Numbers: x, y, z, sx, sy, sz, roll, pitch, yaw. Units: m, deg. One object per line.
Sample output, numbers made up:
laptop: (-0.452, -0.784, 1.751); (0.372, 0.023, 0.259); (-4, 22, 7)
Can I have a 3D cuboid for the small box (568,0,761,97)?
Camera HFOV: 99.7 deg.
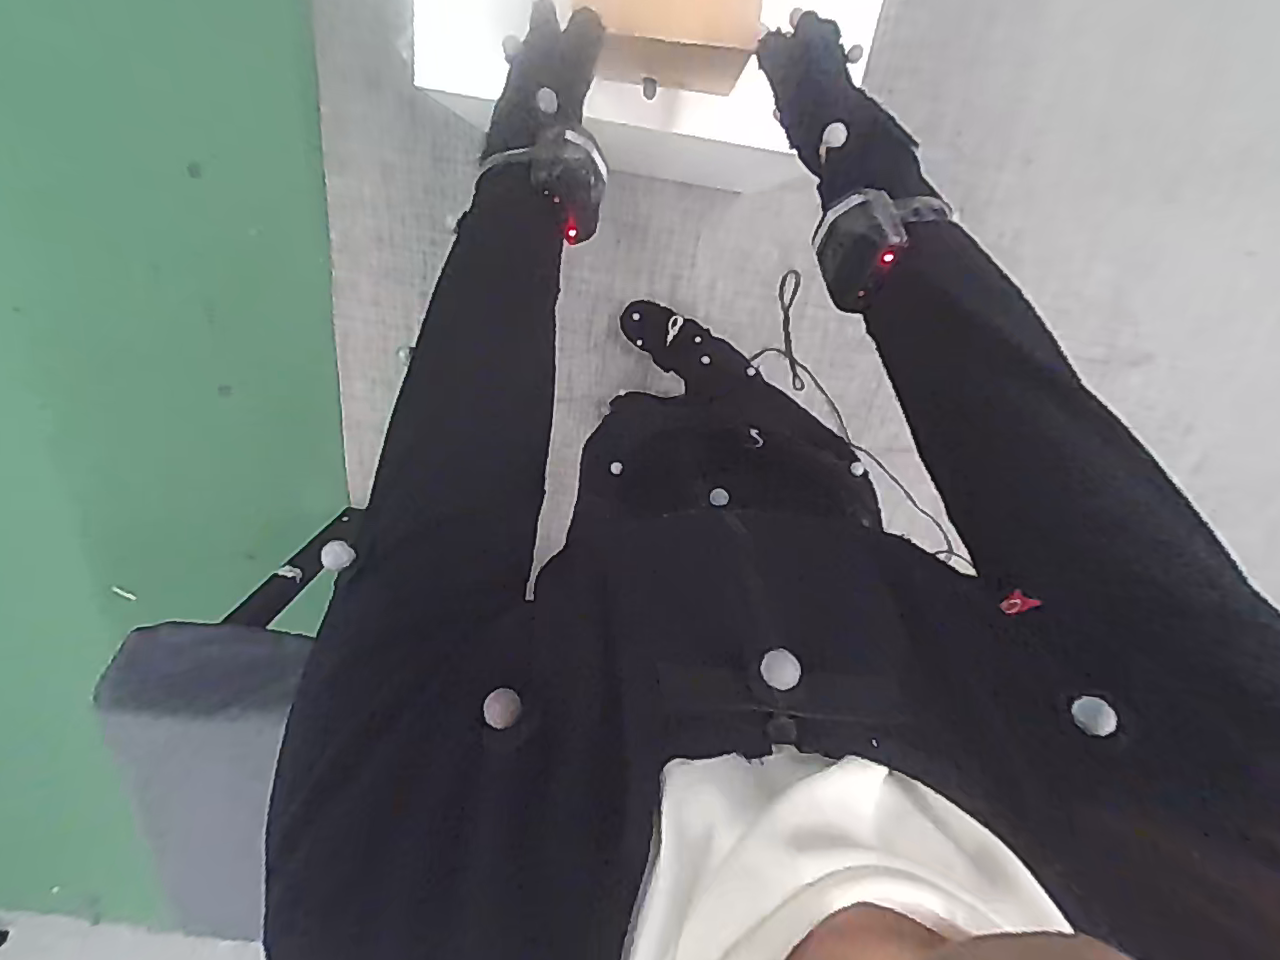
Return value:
small box: (0.029, -0.492, 0.509); (0.168, 0.176, 0.179); (6, 115, 0)
